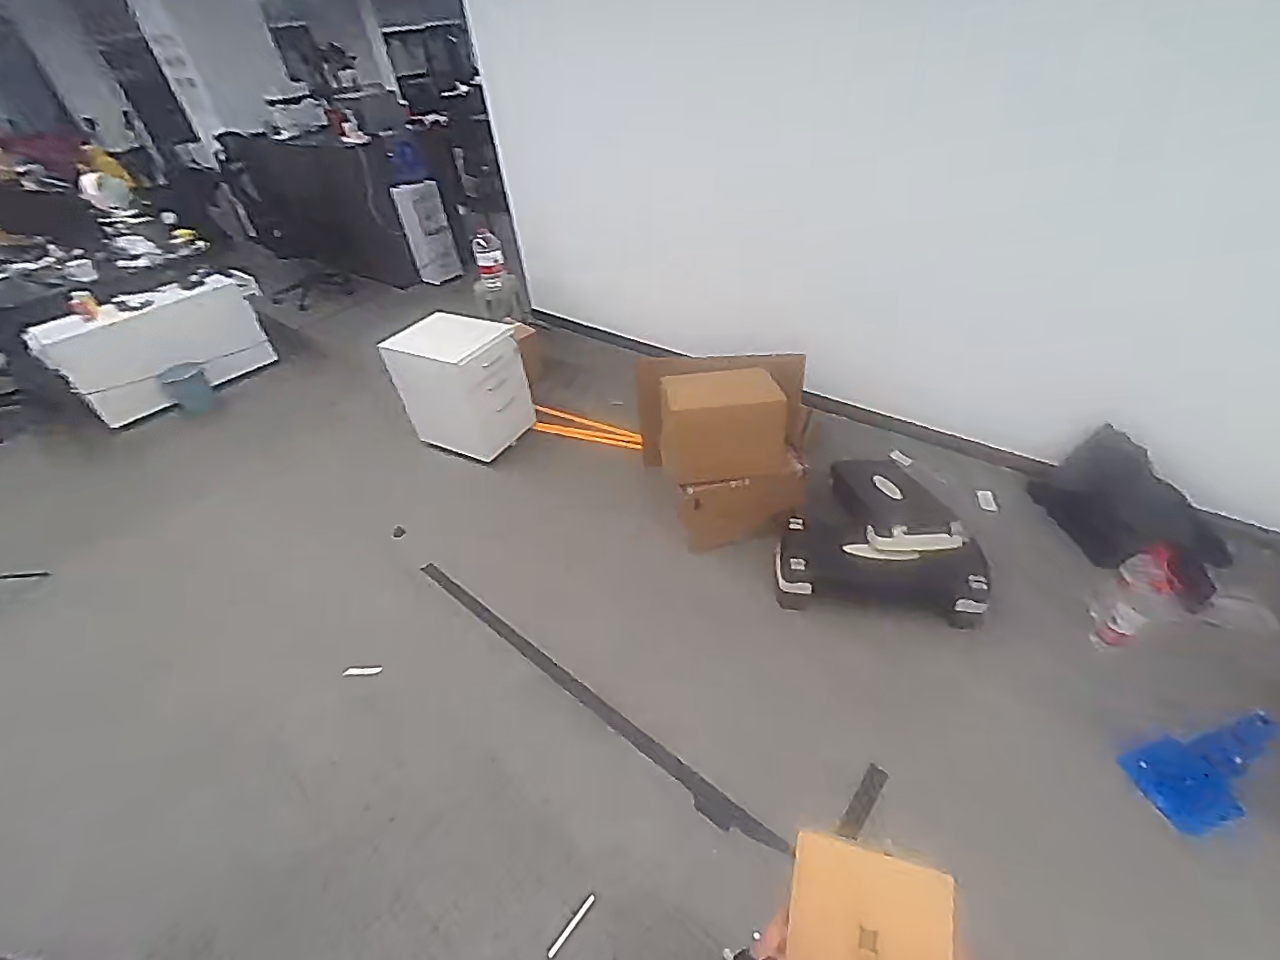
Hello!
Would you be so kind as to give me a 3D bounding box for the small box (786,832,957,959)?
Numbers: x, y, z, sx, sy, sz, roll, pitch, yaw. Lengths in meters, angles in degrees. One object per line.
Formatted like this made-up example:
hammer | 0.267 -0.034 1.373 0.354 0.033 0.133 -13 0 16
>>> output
small box | 0.265 0.542 0.642 0.168 0.176 0.179 5 64 20
